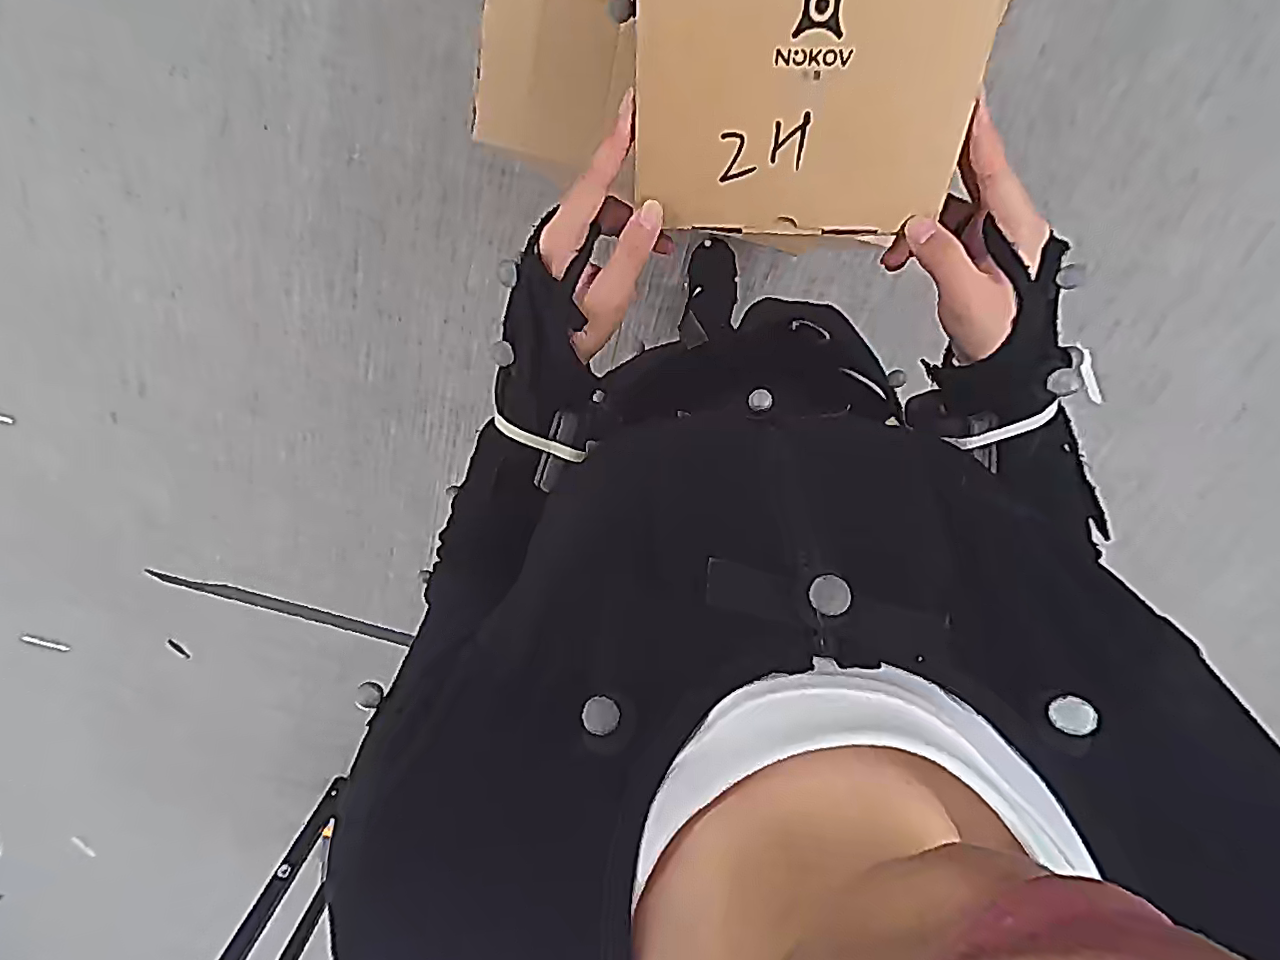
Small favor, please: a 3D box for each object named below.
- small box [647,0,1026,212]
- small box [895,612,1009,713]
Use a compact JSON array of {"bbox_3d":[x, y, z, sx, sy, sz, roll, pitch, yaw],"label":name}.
[{"bbox_3d":[0.090,-0.261,0.302,0.168,0.176,0.179,3,125,1],"label":"small box"},{"bbox_3d":[0.841,0.490,1.475,0.179,0.176,0.168,23,111,-4],"label":"small box"}]
